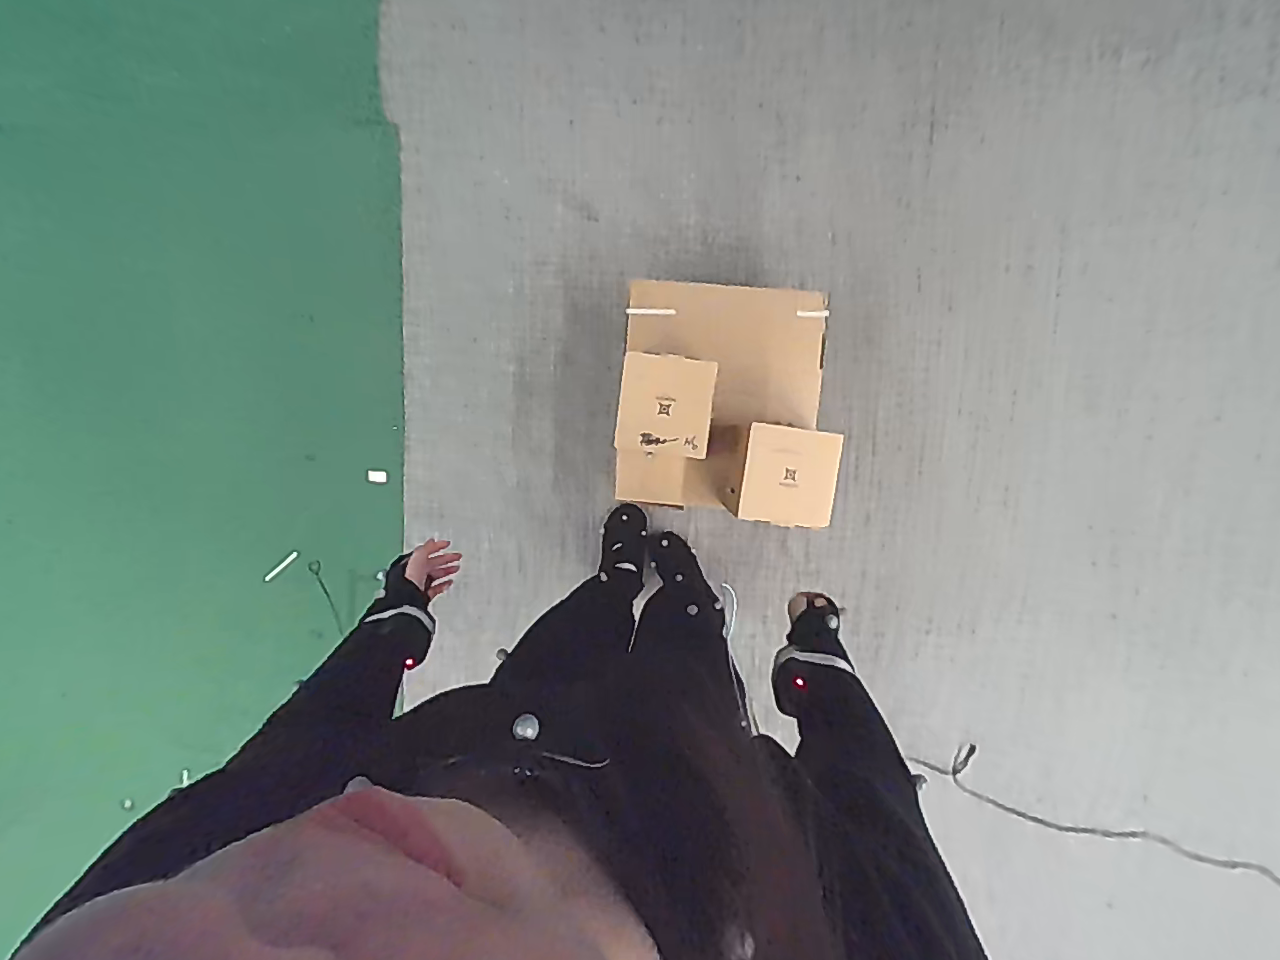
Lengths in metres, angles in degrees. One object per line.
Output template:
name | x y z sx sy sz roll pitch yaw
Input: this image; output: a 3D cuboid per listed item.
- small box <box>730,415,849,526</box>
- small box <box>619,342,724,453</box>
small box | 0.272 -0.023 1.024 0.168 0.176 0.179 9 94 0
small box | 0.058 -0.149 1.024 0.168 0.176 0.179 8 94 3
